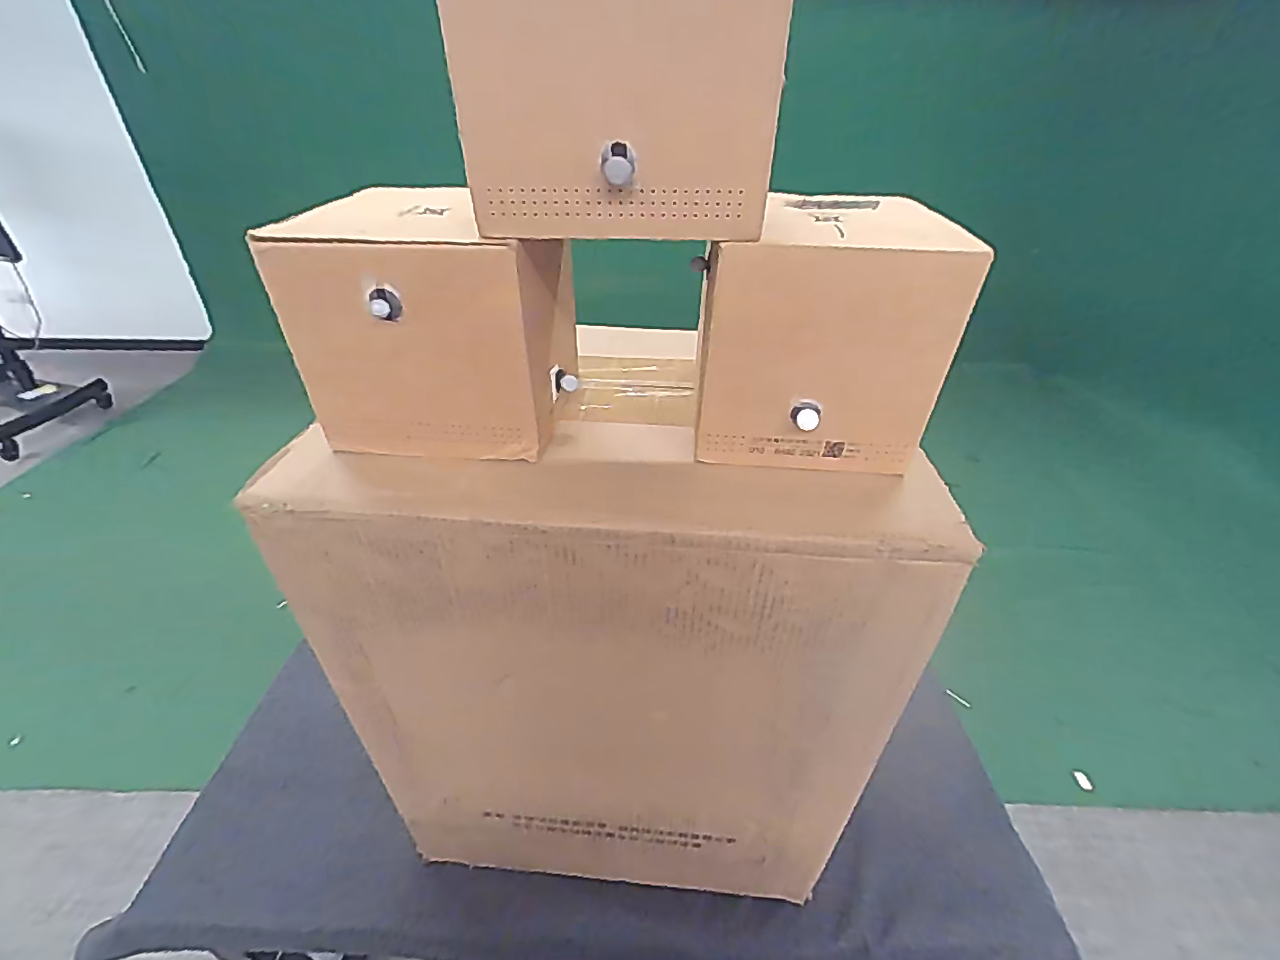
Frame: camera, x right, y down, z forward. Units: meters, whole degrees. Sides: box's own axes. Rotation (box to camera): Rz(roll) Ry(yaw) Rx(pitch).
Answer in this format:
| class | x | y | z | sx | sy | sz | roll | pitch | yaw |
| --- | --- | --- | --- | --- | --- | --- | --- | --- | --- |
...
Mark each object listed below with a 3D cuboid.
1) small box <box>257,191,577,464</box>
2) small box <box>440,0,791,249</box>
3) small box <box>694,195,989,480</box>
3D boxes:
| class | x | y | z | sx | sy | sz | roll | pitch | yaw |
| --- | --- | --- | --- | --- | --- | --- | --- | --- | --- |
| small box | -0.153 | -0.128 | 0.447 | 0.179 | 0.176 | 0.168 | 5 | 39 | 2 |
| small box | -0.011 | -0.255 | 0.345 | 0.179 | 0.176 | 0.168 | 1 | 38 | 0 |
| small box | 0.133 | -0.122 | 0.443 | 0.168 | 0.176 | 0.179 | 4 | 39 | 3 |
